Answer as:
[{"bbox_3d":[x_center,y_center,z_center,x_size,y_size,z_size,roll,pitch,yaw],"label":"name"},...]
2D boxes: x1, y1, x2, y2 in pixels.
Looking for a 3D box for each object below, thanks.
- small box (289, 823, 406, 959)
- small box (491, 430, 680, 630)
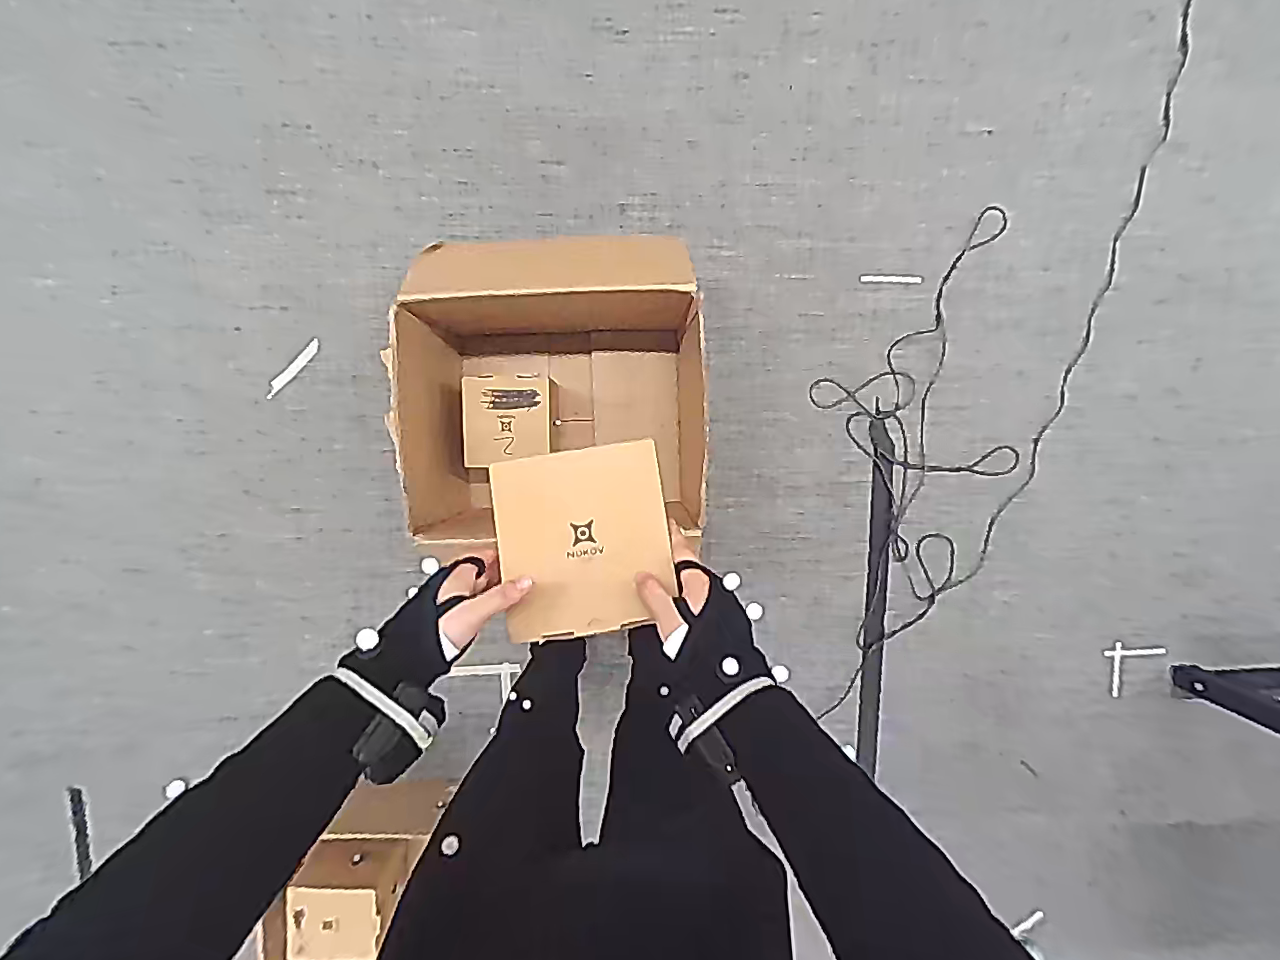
[{"bbox_3d":[-0.614,0.867,1.154,0.179,0.176,0.168,3,96,-4],"label":"small box"},{"bbox_3d":[-0.055,0.056,0.600,0.168,0.176,0.179,-9,83,-1],"label":"small box"}]
